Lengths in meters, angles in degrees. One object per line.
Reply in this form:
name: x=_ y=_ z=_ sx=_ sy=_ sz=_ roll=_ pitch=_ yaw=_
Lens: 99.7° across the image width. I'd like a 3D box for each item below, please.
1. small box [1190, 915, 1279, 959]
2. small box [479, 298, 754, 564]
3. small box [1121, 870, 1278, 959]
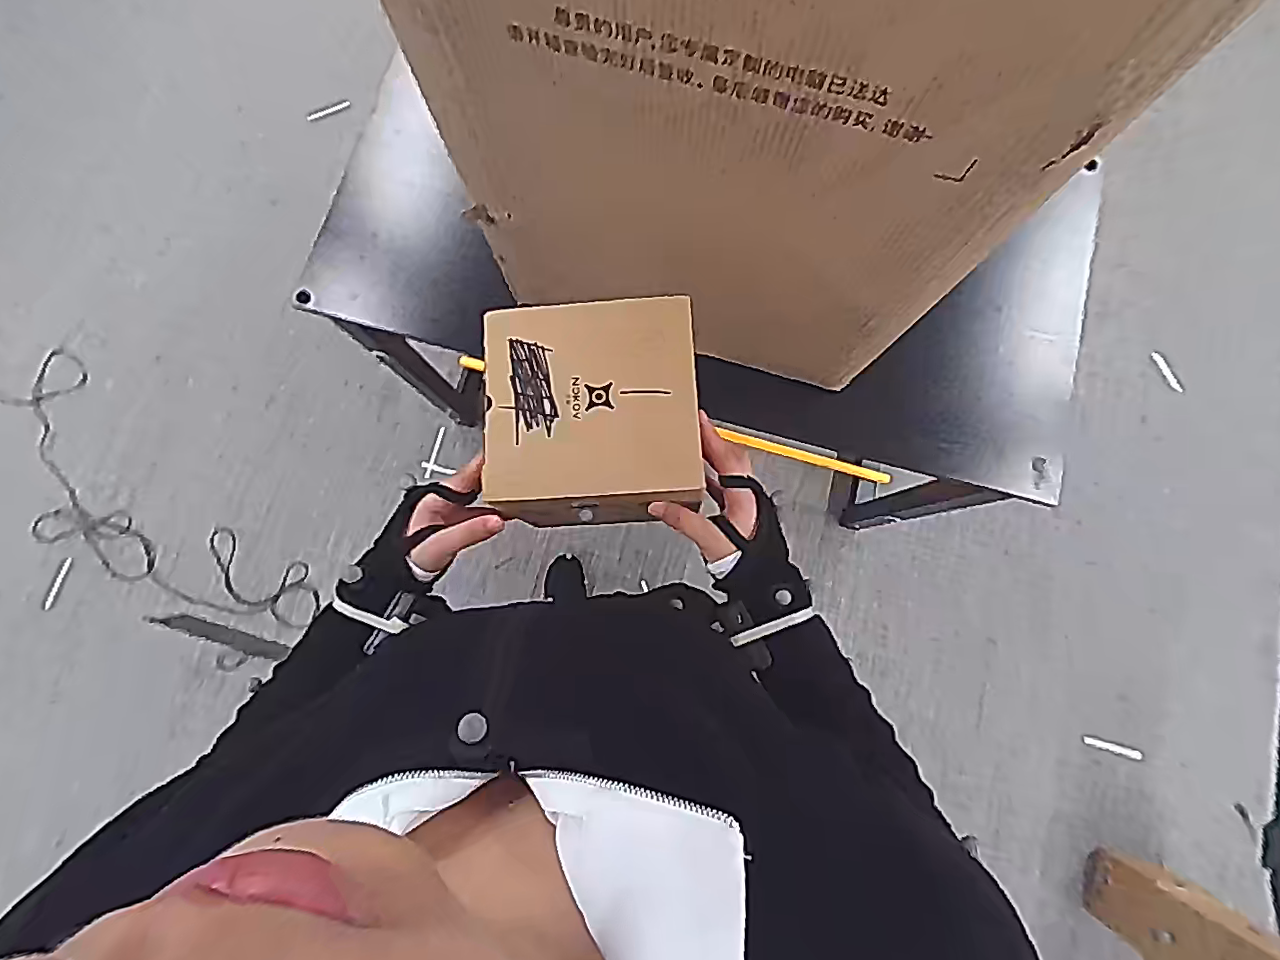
small box: x=1.249 y=1.008 z=1.061 sx=0.179 sy=0.176 sz=0.168 roll=16 pitch=80 yaw=2
small box: x=-0.013 y=-0.022 z=0.429 sx=0.179 sy=0.176 sz=0.168 roll=-3 pitch=79 yaw=3
small box: x=1.258 y=1.030 z=1.225 sx=0.179 sy=0.176 sz=0.168 roll=15 pitch=80 yaw=3
